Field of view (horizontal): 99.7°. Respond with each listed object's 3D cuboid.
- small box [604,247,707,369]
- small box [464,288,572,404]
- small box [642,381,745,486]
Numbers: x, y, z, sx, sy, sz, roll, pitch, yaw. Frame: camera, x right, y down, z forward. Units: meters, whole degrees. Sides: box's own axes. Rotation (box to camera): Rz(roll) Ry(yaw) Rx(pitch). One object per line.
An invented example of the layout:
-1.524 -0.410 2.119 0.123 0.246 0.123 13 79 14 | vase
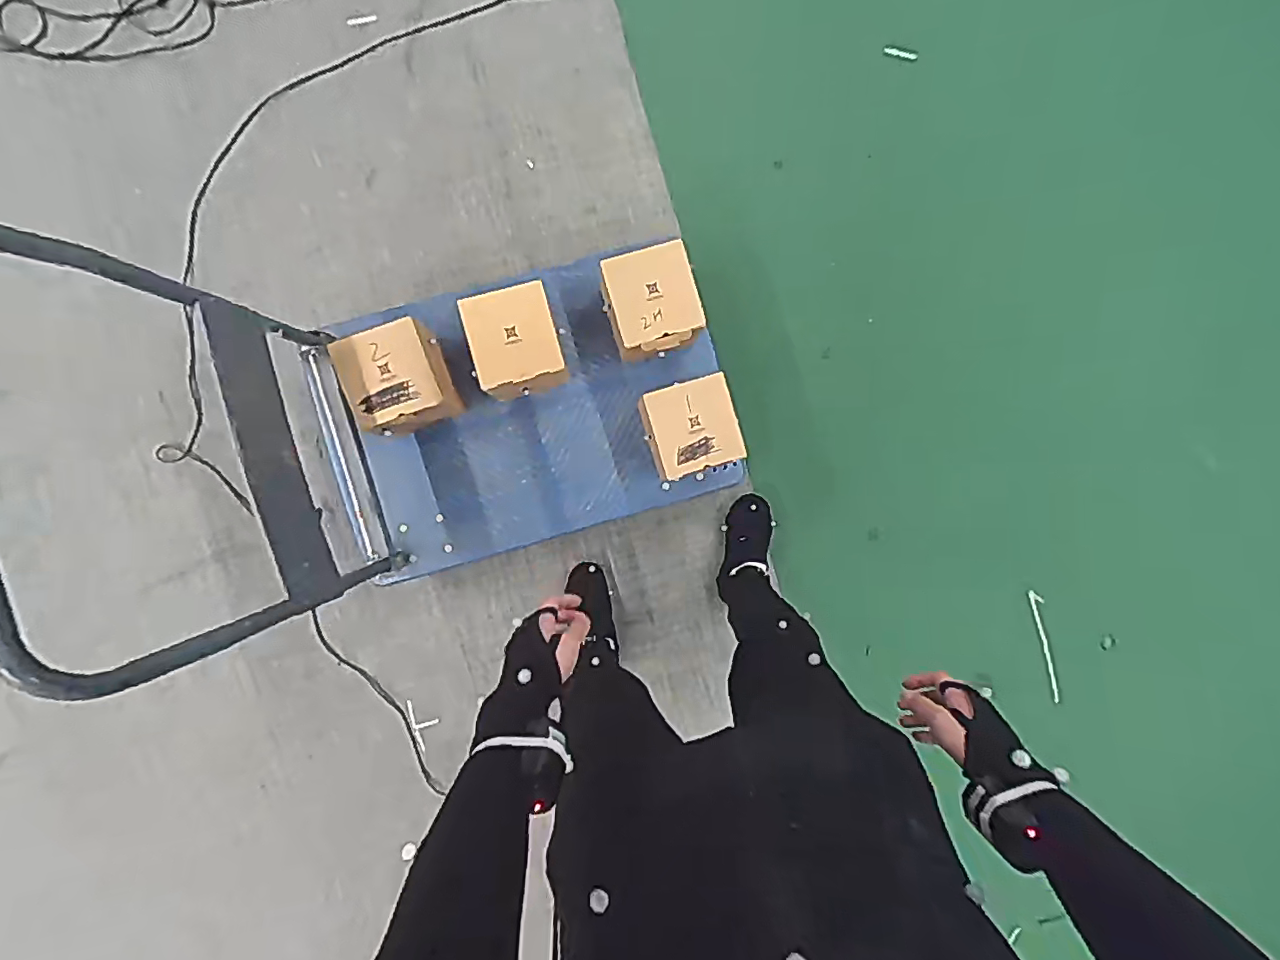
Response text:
0.026 -0.347 1.119 0.168 0.176 0.179 -16 92 -2 | small box
-0.242 -0.266 1.108 0.168 0.176 0.179 -15 93 -3 | small box
0.106 -0.094 1.145 0.168 0.176 0.179 -17 91 -3 | small box
